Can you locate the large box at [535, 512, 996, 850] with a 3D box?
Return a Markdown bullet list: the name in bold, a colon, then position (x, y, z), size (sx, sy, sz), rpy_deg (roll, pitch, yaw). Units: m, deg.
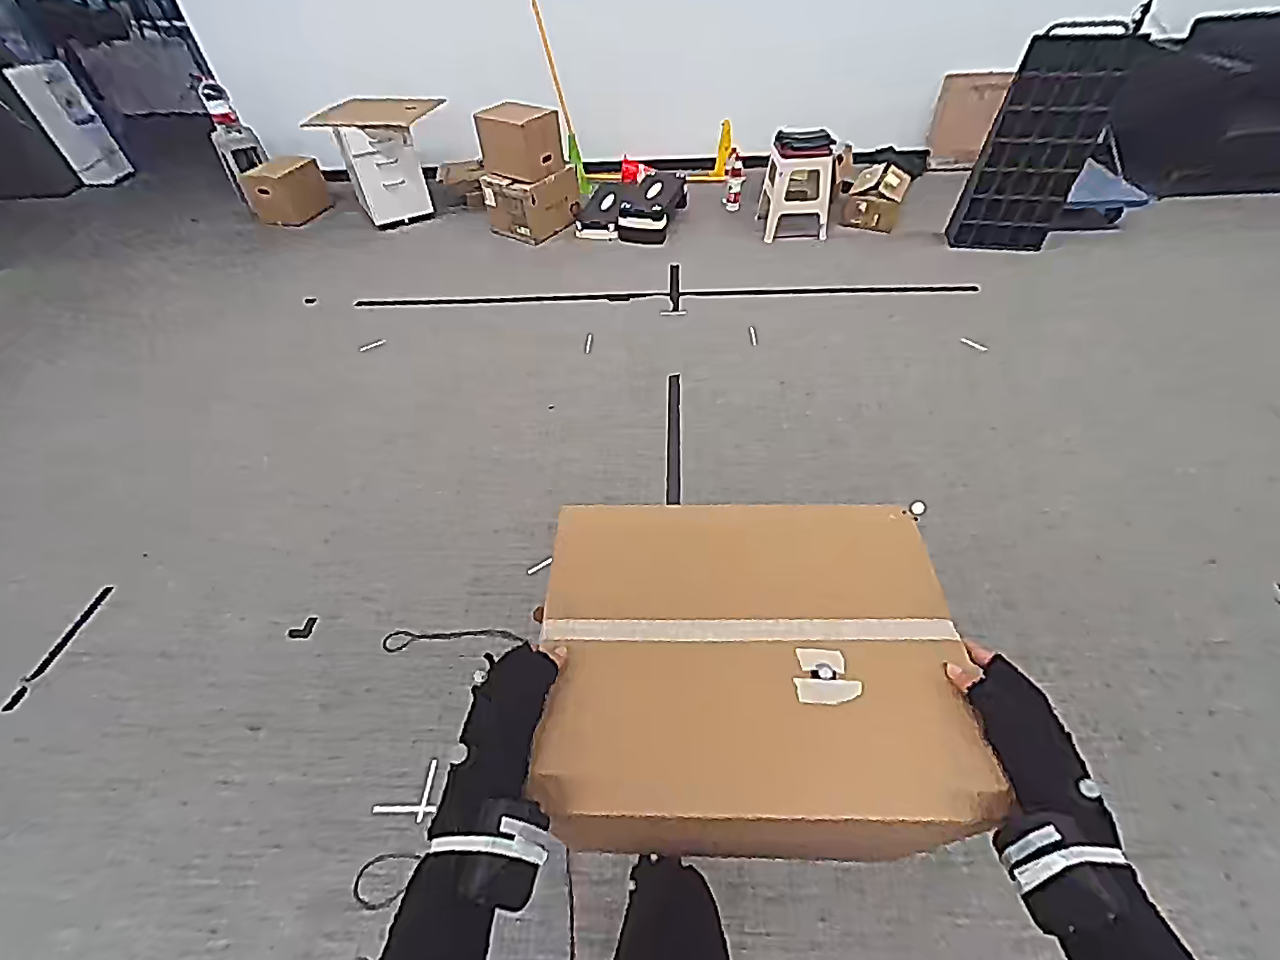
- **large box**: position (0.109, 0.254, 0.668), size (0.408, 0.320, 0.320), rpy_deg (0, 51, 2)
